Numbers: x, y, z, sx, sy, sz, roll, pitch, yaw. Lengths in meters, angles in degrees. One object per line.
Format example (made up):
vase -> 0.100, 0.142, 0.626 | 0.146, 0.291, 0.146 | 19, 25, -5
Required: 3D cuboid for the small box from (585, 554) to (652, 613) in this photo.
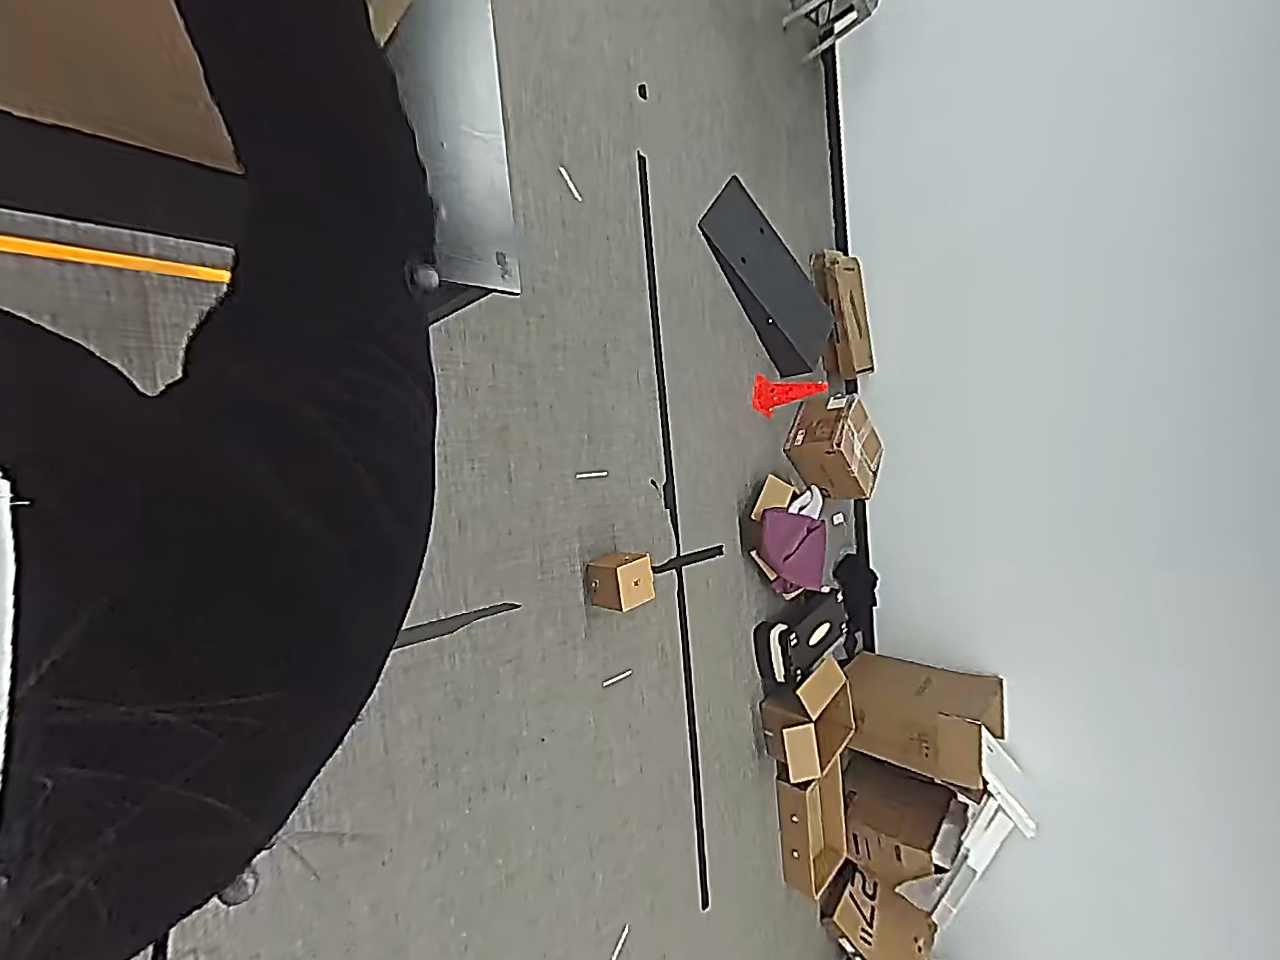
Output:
small box -> -0.080, 0.378, 2.015 | 0.179, 0.176, 0.168 | -14, 98, -44
